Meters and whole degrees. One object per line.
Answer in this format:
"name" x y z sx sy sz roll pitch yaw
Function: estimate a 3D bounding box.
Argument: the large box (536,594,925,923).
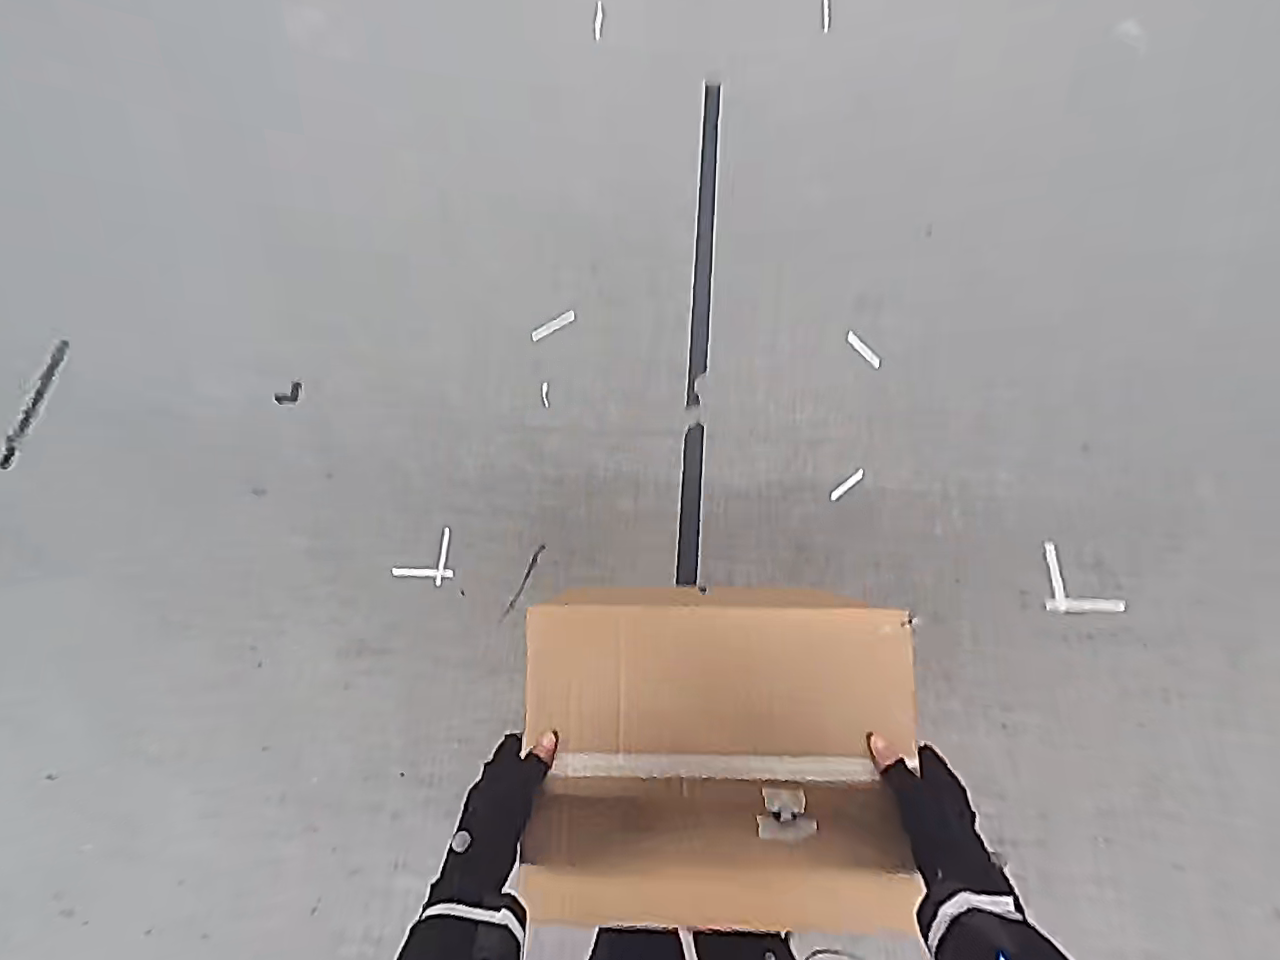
"large box" 0.090 0.317 0.716 0.408 0.320 0.320 0 83 1
